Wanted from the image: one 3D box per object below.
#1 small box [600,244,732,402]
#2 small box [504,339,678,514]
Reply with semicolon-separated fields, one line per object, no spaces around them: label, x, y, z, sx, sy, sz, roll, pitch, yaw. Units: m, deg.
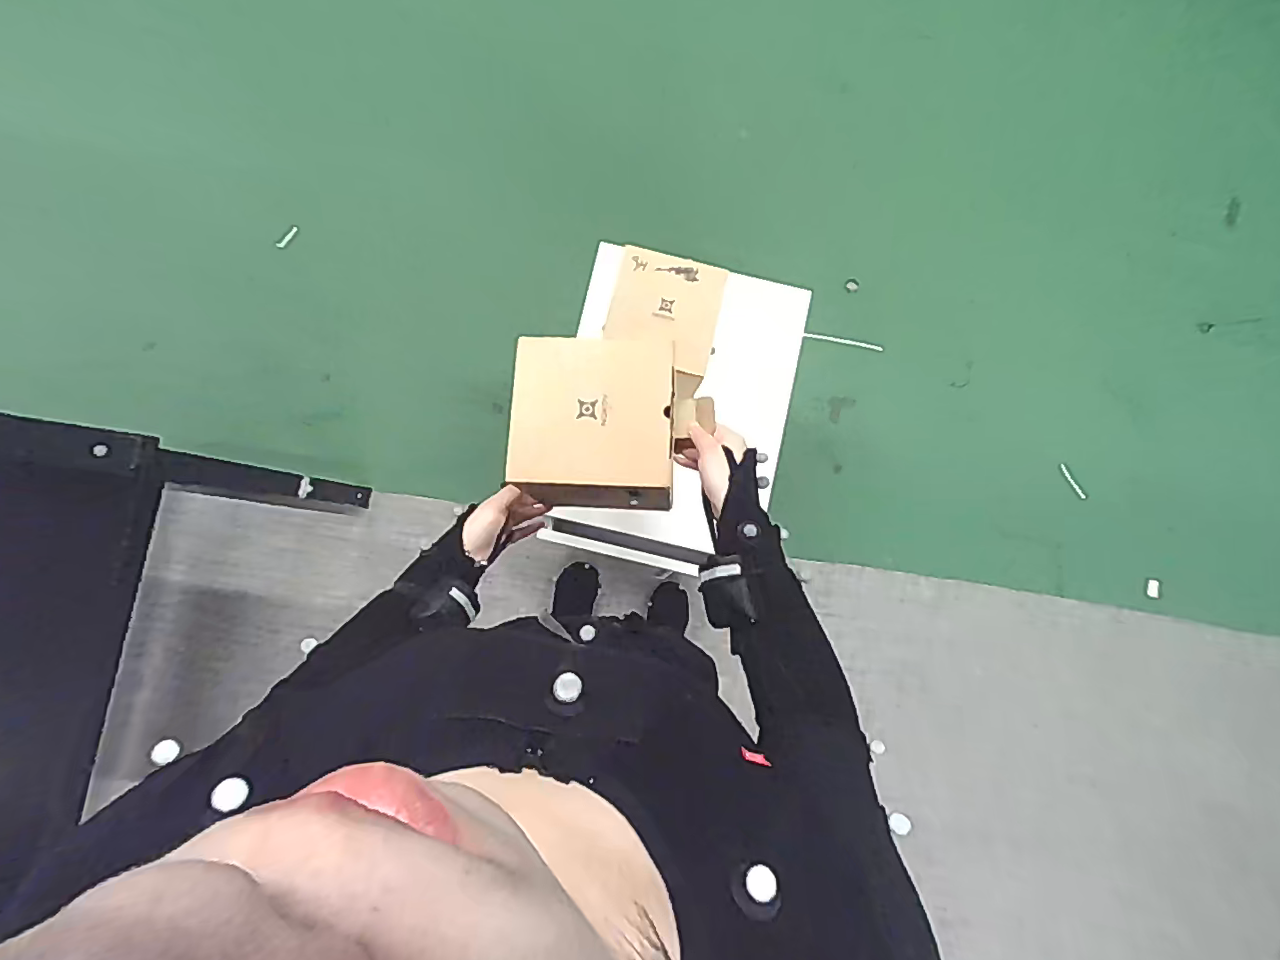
small box;0.035;-0.239;0.869;0.168;0.176;0.179;14;84;-1
small box;-0.046;-0.053;0.641;0.179;0.176;0.168;2;79;3
